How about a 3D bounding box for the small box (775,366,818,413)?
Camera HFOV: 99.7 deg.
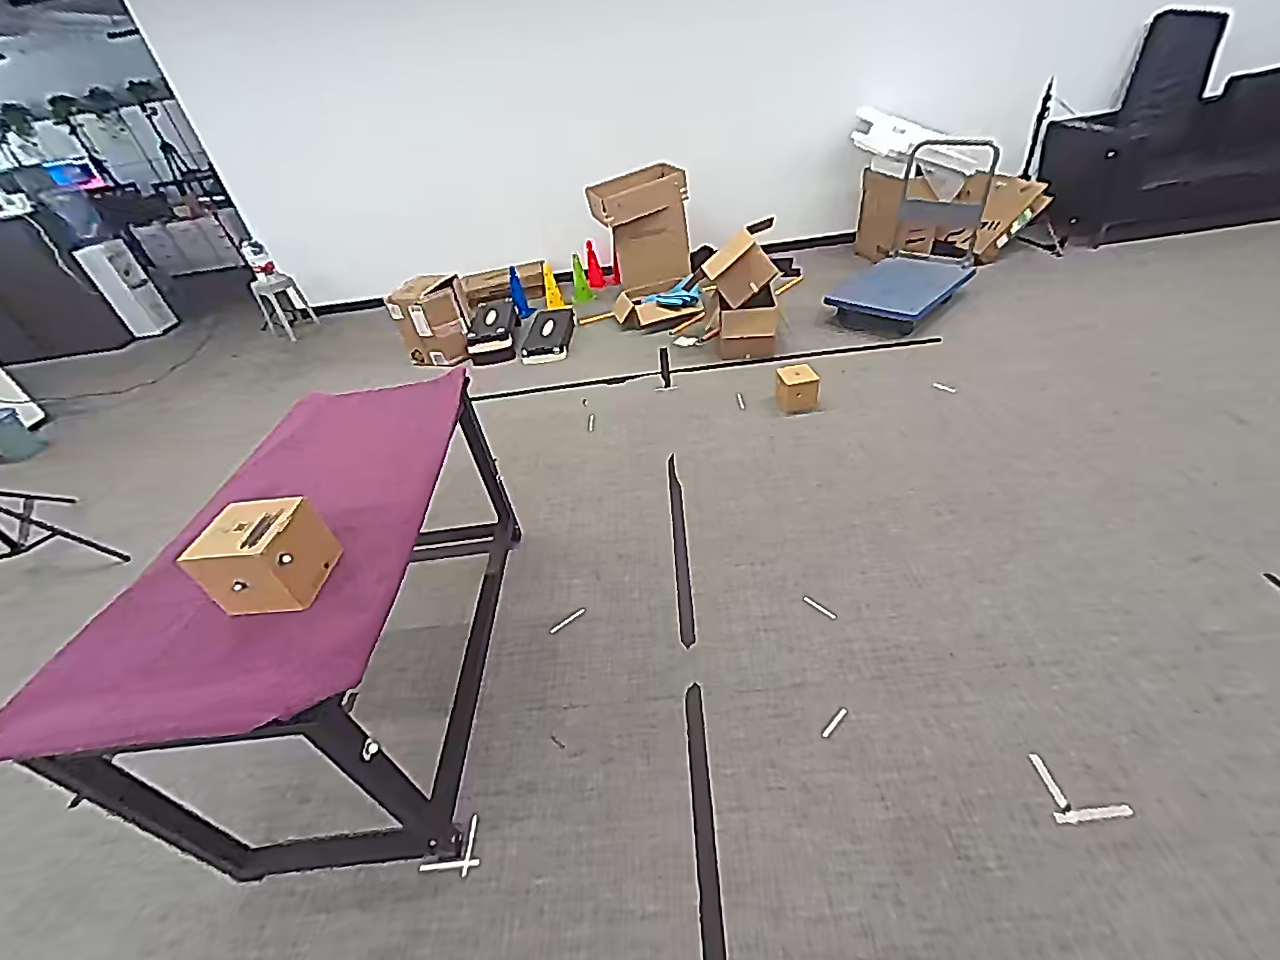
[{"bbox_3d":[0.794,-0.454,2.750,0.168,0.176,0.179,-11,38,-2],"label":"small box"}]
